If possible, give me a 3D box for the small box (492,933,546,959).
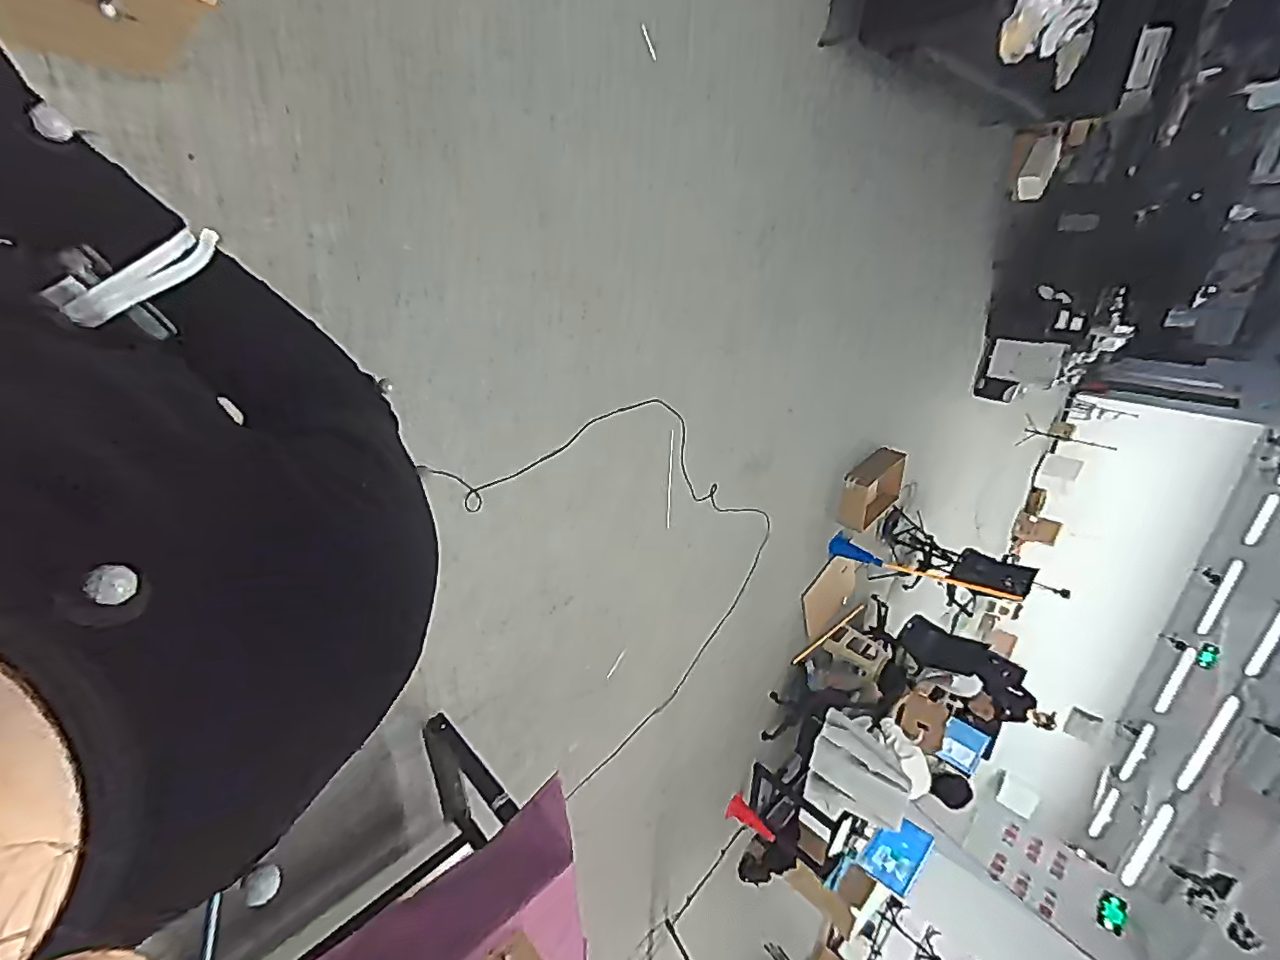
[{"bbox_3d":[-0.292,1.253,1.292,0.168,0.176,0.179,-17,119,-42],"label":"small box"}]
